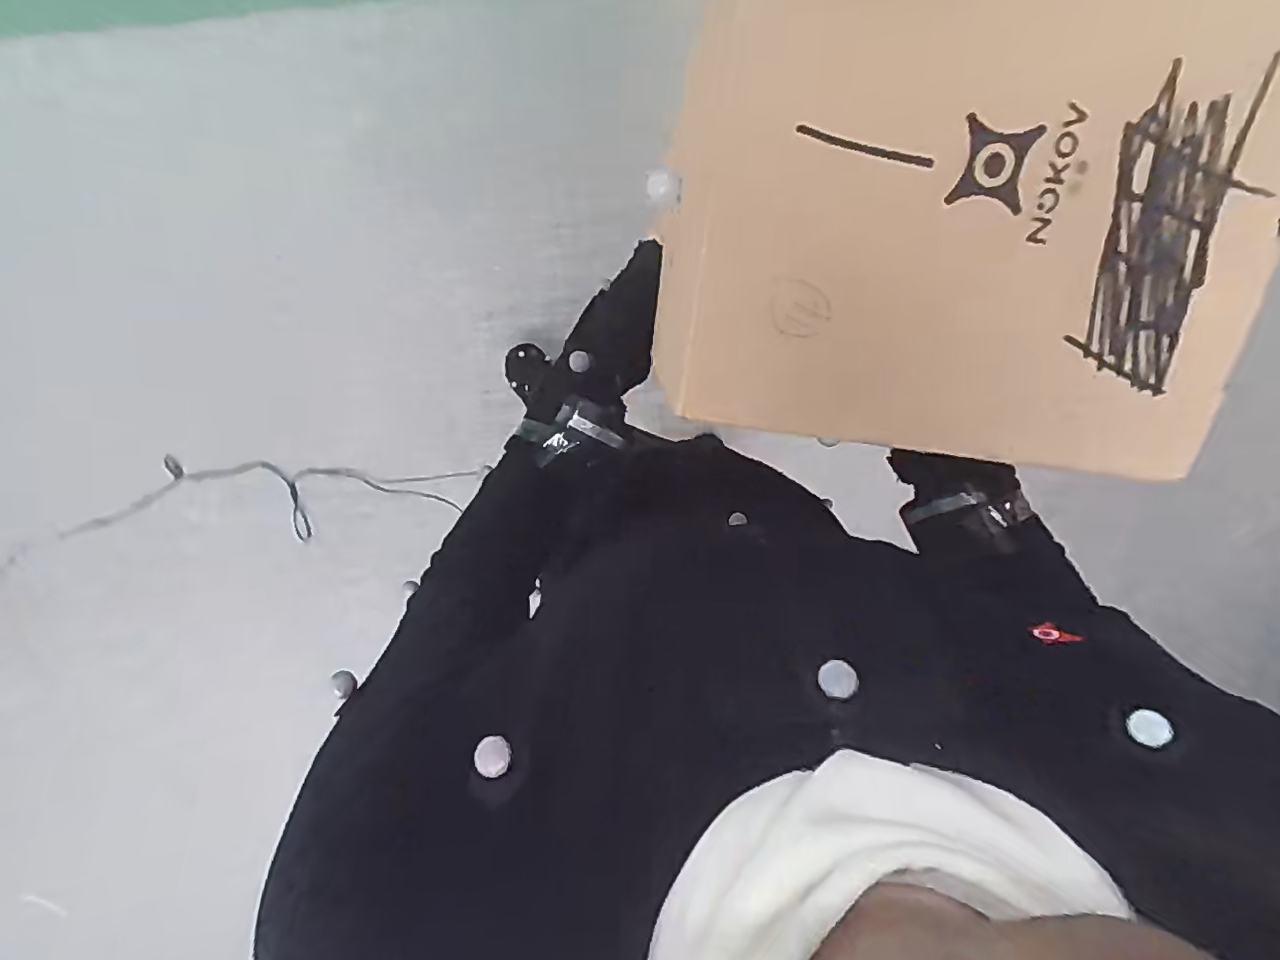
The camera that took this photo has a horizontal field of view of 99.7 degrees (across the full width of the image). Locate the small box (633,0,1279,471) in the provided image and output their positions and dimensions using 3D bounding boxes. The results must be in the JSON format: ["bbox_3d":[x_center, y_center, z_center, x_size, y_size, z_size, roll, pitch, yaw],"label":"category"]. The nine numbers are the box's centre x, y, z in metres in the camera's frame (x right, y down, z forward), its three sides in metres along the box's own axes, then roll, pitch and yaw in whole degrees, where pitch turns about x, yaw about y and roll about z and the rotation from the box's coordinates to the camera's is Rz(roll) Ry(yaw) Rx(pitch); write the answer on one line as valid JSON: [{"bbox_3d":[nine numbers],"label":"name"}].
[{"bbox_3d":[0.093,-0.114,0.231,0.179,0.176,0.168,7,107,-2],"label":"small box"}]
